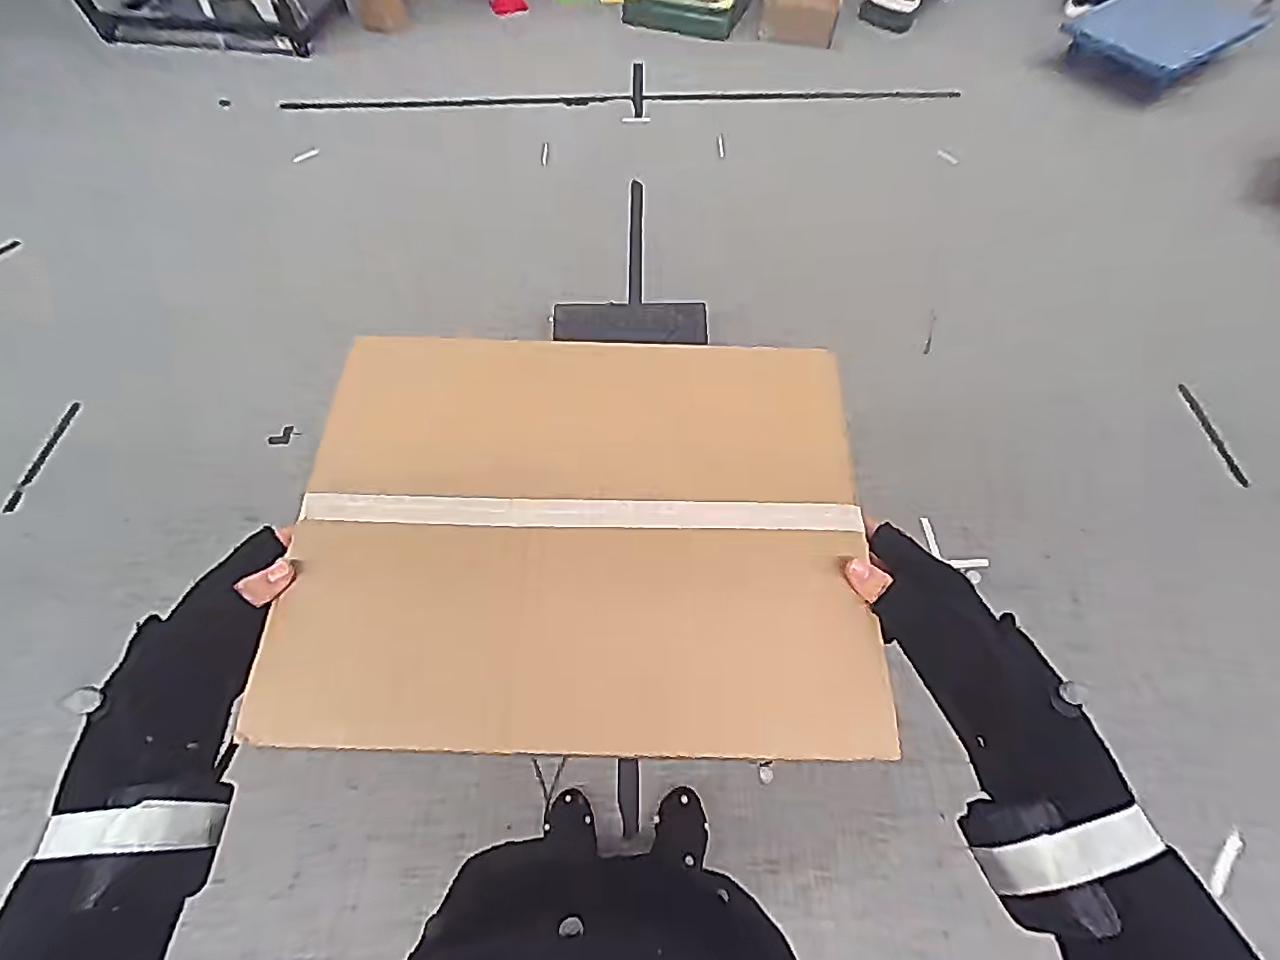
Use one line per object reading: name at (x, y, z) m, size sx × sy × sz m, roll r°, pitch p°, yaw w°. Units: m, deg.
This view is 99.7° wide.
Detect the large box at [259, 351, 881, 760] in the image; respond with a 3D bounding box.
large box at (-0.043, 0.093, 0.538) m, size 0.408 × 0.320 × 0.320 m, roll 2°, pitch 64°, yaw -1°
